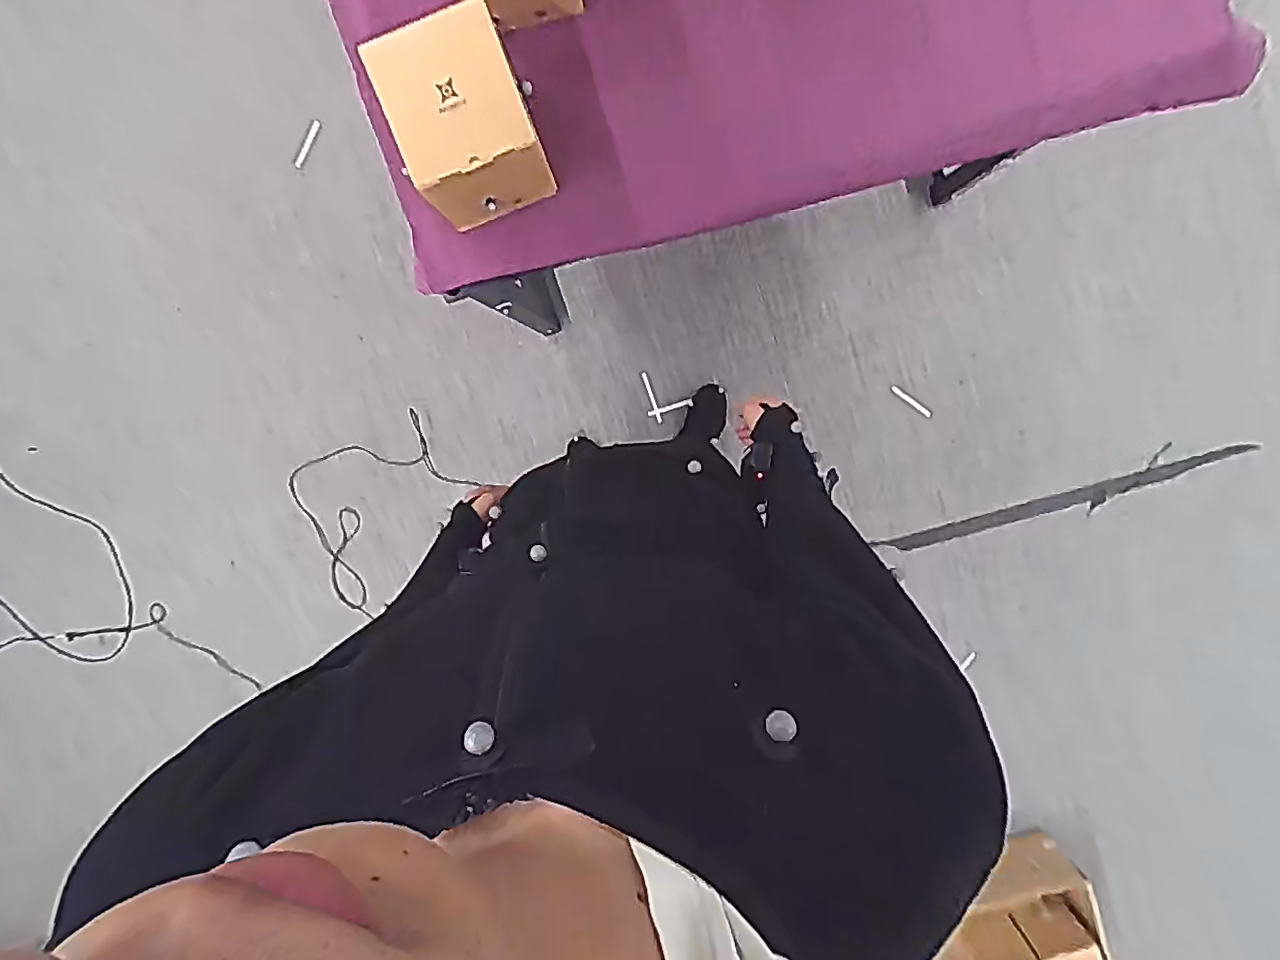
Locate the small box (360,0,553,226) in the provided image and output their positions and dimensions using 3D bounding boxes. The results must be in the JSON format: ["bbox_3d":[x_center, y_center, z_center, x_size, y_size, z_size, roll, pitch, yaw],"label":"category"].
[{"bbox_3d":[-0.232,-0.480,0.733,0.168,0.176,0.179,-21,99,3],"label":"small box"}]

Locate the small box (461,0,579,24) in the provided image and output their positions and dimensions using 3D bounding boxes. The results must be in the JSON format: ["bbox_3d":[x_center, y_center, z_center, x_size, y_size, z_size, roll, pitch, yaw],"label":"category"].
[{"bbox_3d":[-0.180,-0.734,0.692,0.168,0.176,0.179,-11,99,3],"label":"small box"}]
